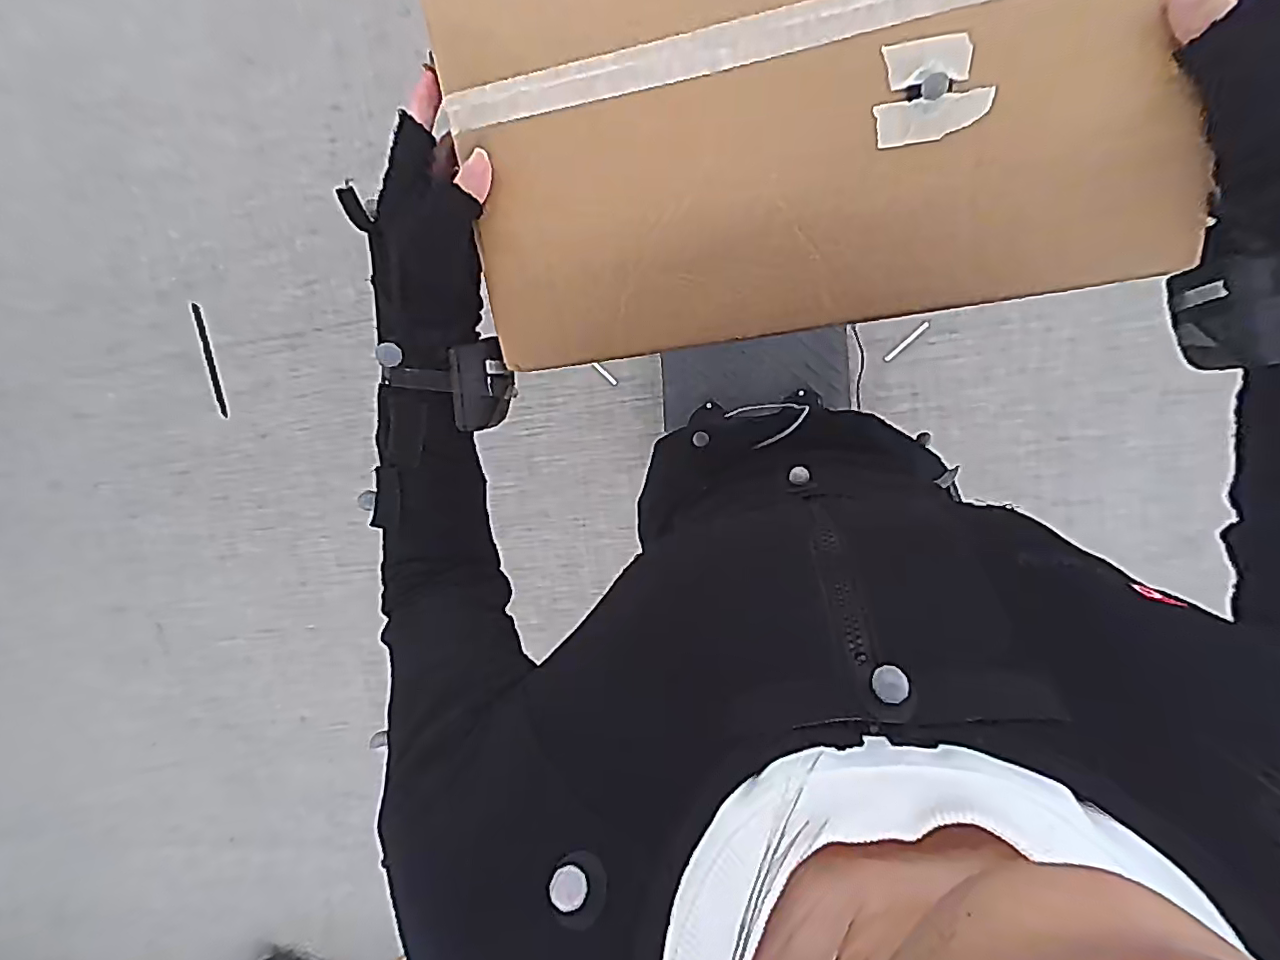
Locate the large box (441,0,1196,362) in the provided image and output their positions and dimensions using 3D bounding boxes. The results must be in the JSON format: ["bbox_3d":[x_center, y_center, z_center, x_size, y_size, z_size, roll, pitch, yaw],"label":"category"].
[{"bbox_3d":[0.103,-0.293,0.445,0.408,0.320,0.320,-7,106,10],"label":"large box"}]
